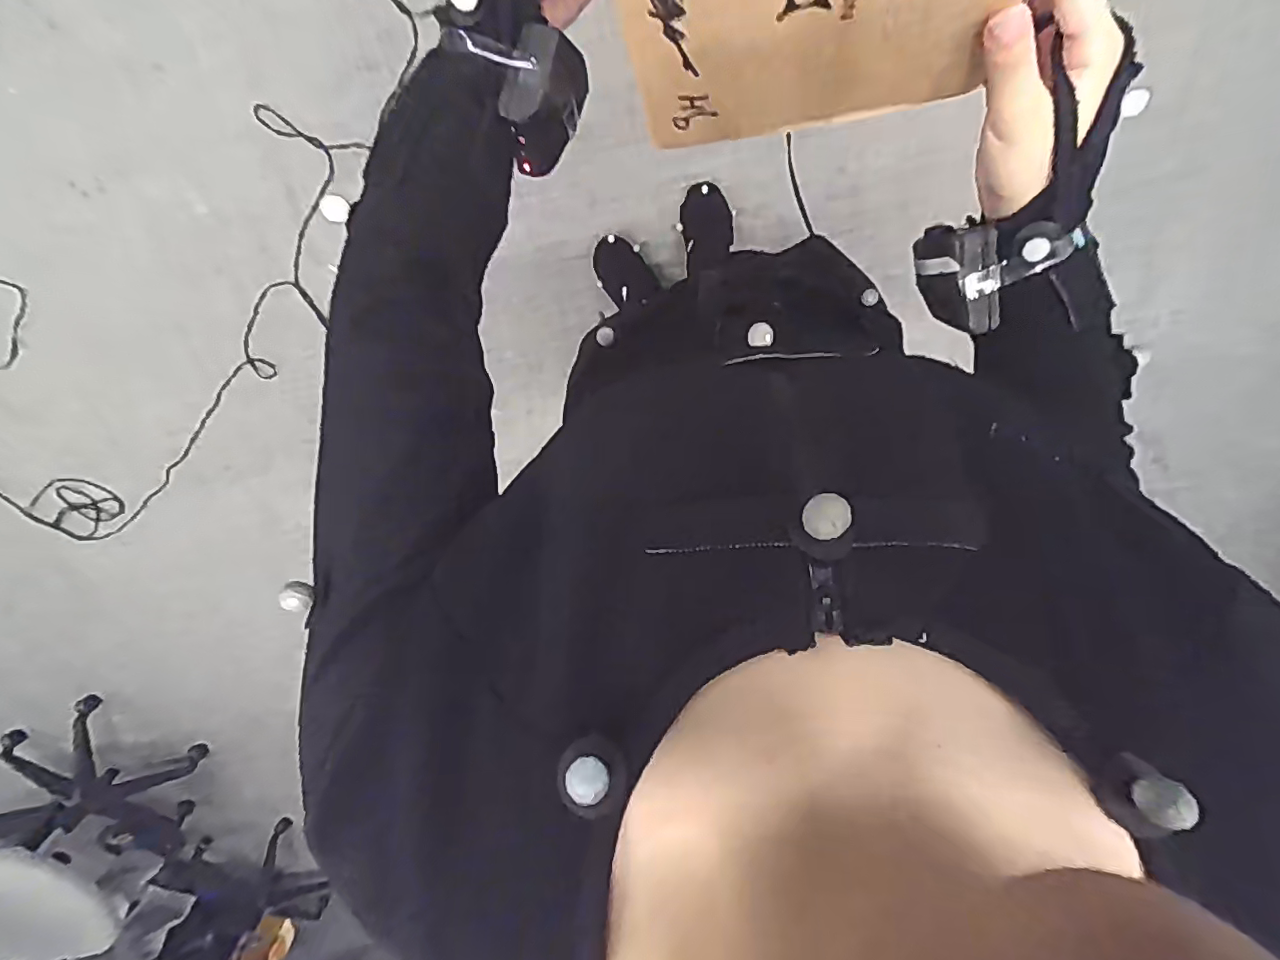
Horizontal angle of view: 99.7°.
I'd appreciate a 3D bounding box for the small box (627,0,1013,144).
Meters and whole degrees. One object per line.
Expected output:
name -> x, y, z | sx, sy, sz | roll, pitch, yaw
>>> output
small box -> 0.074, -0.294, 0.235 | 0.179, 0.168, 0.176 | -5, 85, 10
